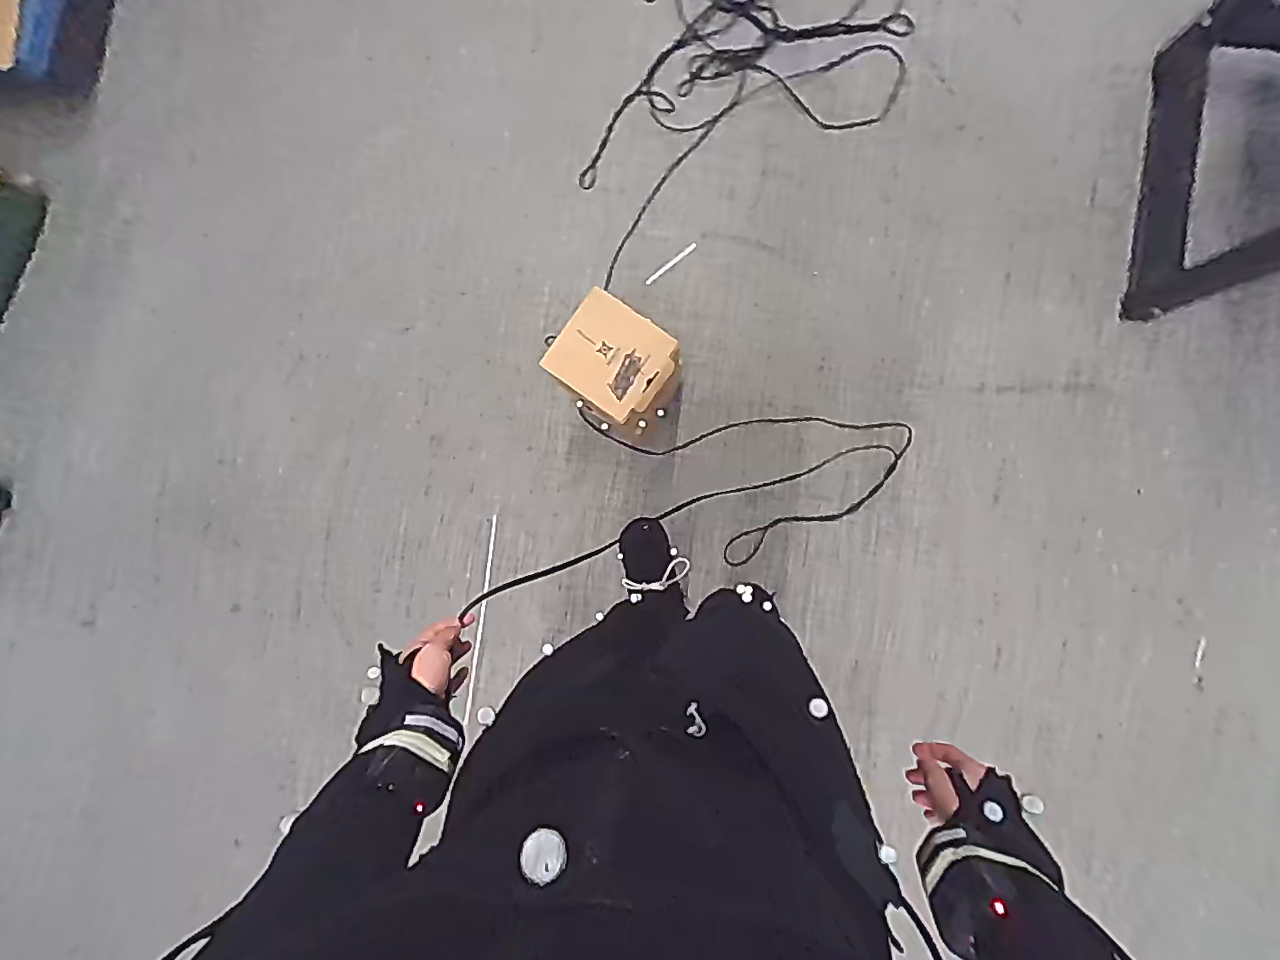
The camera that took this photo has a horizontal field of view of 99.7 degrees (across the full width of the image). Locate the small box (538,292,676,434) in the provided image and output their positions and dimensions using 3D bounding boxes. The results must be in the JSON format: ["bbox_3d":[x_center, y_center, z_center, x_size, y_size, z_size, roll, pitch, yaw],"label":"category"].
[{"bbox_3d":[-0.049,-0.196,0.971,0.179,0.176,0.168,36,89,5],"label":"small box"}]

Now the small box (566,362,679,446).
[{"bbox_3d":[-0.028,-0.186,1.135,0.168,0.176,0.179,31,90,5],"label":"small box"}]
